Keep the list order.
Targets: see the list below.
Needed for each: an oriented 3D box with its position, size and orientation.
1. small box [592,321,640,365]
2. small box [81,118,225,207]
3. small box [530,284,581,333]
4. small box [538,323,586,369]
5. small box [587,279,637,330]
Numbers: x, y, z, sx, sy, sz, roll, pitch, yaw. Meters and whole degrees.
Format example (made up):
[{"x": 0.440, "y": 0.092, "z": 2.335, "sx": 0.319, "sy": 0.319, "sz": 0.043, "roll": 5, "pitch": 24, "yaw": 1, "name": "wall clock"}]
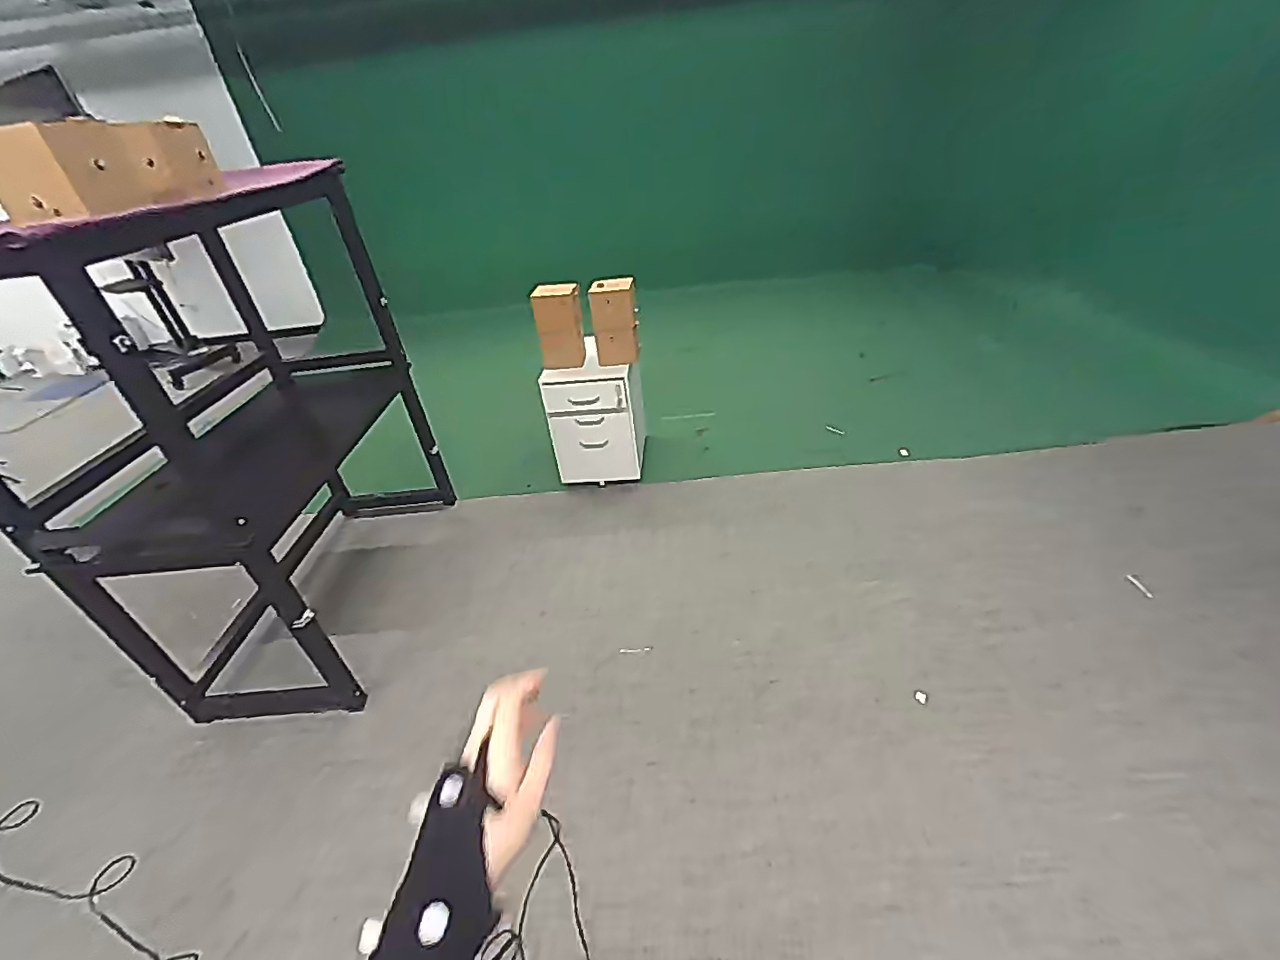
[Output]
[{"x": -0.104, "y": -0.624, "z": 2.428, "sx": 0.179, "sy": 0.176, "sz": 0.168, "roll": -2, "pitch": 36, "yaw": 8, "name": "small box"}, {"x": -1.209, "y": -0.801, "z": 1.362, "sx": 0.179, "sy": 0.176, "sz": 0.168, "roll": -5, "pitch": 33, "yaw": 5, "name": "small box"}, {"x": -0.367, "y": -0.750, "z": 2.374, "sx": 0.179, "sy": 0.176, "sz": 0.168, "roll": -1, "pitch": 35, "yaw": 5, "name": "small box"}, {"x": -0.351, "y": -0.615, "z": 2.465, "sx": 0.179, "sy": 0.176, "sz": 0.168, "roll": -3, "pitch": 35, "yaw": 5, "name": "small box"}, {"x": -0.116, "y": -0.755, "z": 2.331, "sx": 0.179, "sy": 0.176, "sz": 0.168, "roll": -2, "pitch": 35, "yaw": 8, "name": "small box"}]
